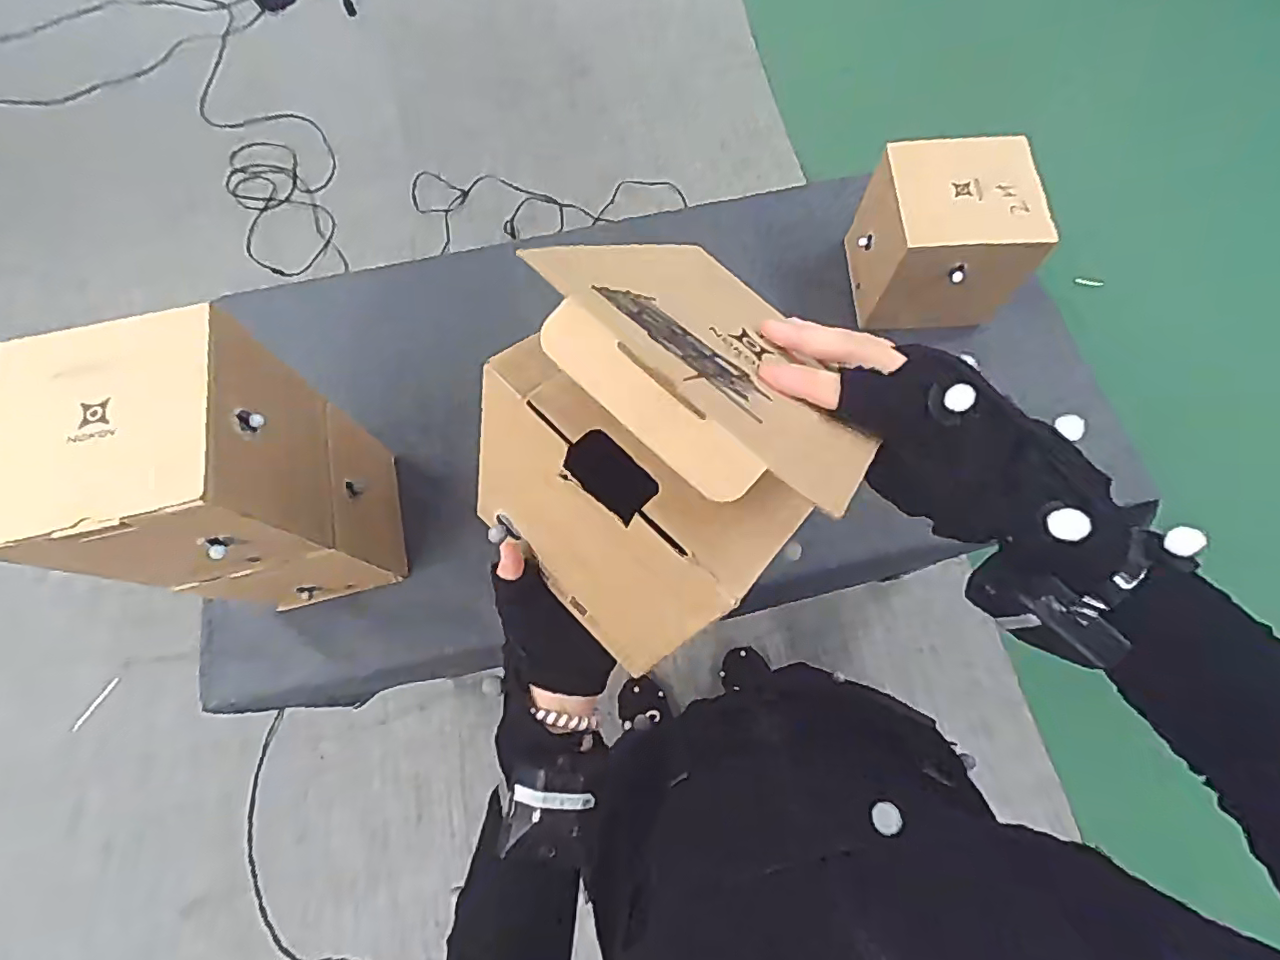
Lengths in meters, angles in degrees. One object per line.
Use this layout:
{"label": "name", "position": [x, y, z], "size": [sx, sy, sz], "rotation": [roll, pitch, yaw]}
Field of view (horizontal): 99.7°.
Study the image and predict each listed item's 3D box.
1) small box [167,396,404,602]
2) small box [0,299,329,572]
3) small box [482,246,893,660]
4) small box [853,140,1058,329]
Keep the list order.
{"label": "small box", "position": [-0.395, 0.031, 0.630], "size": [0.168, 0.176, 0.179], "rotation": [-14, 71, -3]}
{"label": "small box", "position": [-0.400, -0.024, 0.476], "size": [0.168, 0.176, 0.179], "rotation": [-12, 71, -4]}
{"label": "small box", "position": [0.017, -0.011, 0.355], "size": [0.168, 0.176, 0.179], "rotation": [44, 57, 10]}
{"label": "small box", "position": [0.399, -0.318, 0.724], "size": [0.179, 0.176, 0.168], "rotation": [0, 72, 2]}
